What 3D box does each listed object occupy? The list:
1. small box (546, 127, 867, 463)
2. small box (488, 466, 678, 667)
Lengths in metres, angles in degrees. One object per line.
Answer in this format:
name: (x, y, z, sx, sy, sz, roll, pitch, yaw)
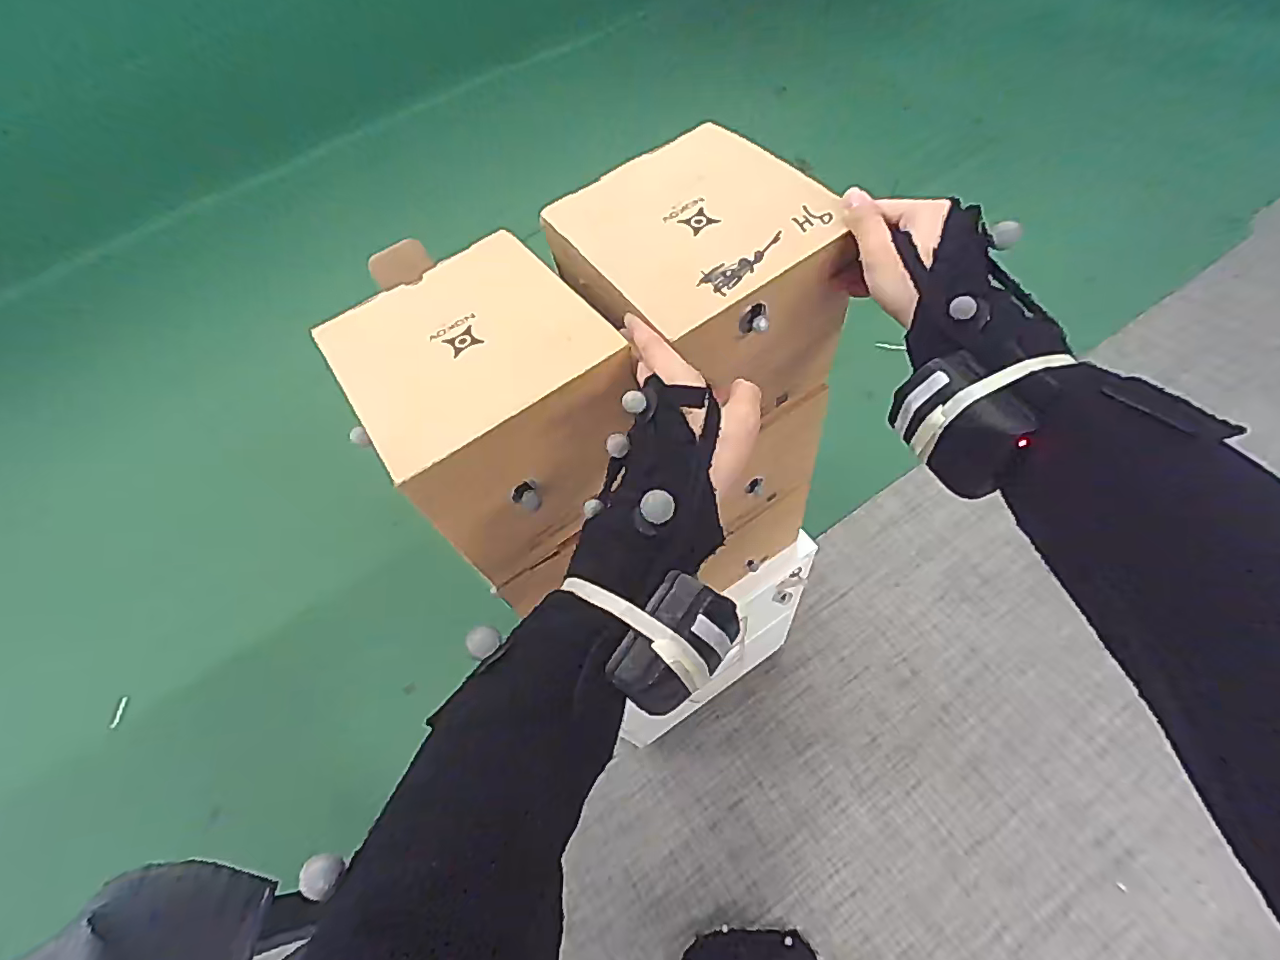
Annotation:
small box: (0.049, -0.147, 0.453, 0.168, 0.176, 0.179, -33, 61, -10)
small box: (-0.064, 0.121, 0.700, 0.168, 0.176, 0.179, -31, 59, -11)
